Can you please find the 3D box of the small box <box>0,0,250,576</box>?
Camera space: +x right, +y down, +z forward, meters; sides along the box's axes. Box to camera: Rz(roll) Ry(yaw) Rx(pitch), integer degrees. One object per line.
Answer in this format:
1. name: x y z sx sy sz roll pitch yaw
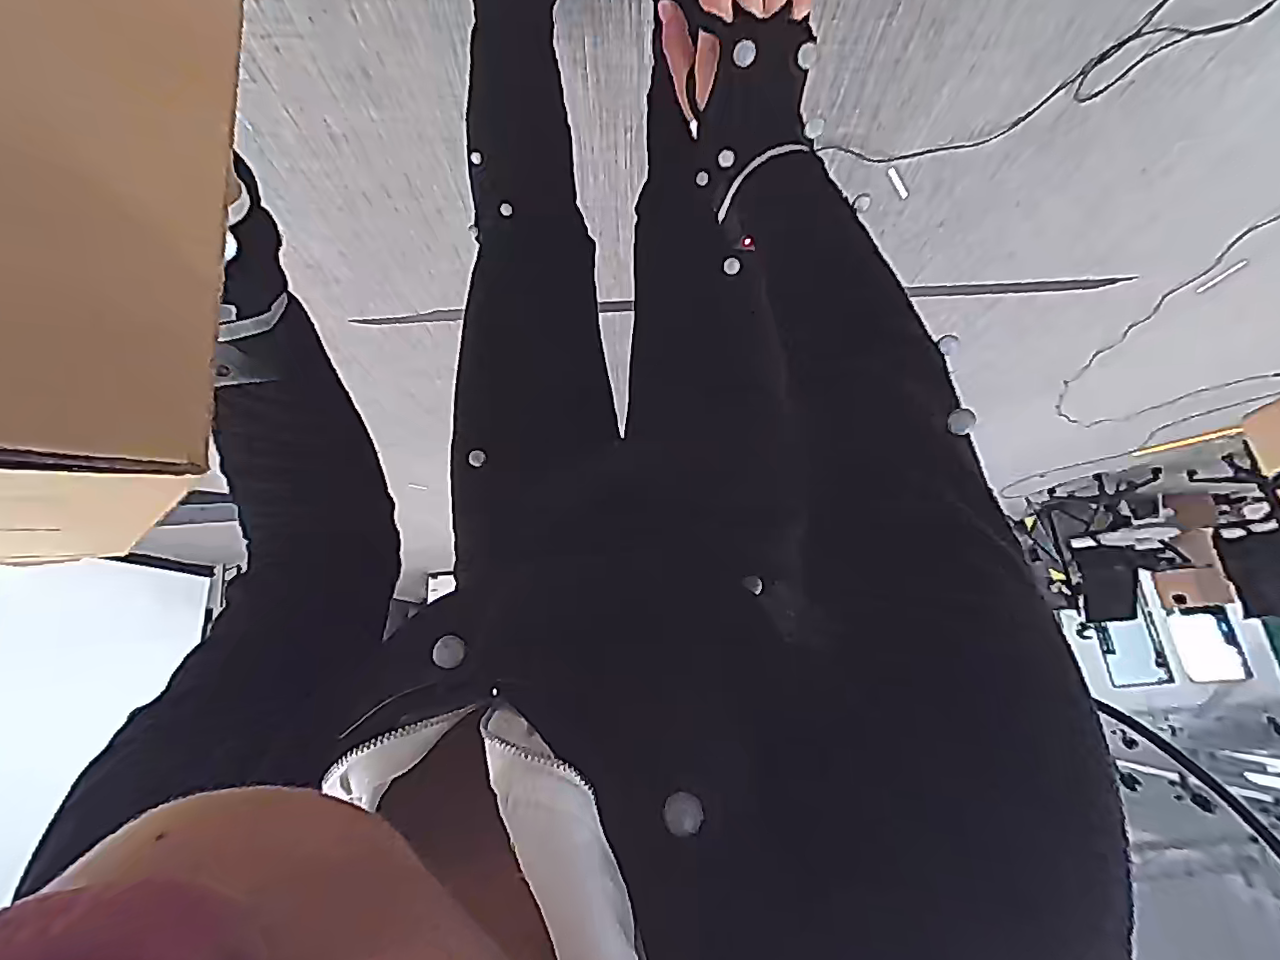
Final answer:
1. small box: -0.218 -0.071 0.124 0.168 0.176 0.179 -16 165 39
